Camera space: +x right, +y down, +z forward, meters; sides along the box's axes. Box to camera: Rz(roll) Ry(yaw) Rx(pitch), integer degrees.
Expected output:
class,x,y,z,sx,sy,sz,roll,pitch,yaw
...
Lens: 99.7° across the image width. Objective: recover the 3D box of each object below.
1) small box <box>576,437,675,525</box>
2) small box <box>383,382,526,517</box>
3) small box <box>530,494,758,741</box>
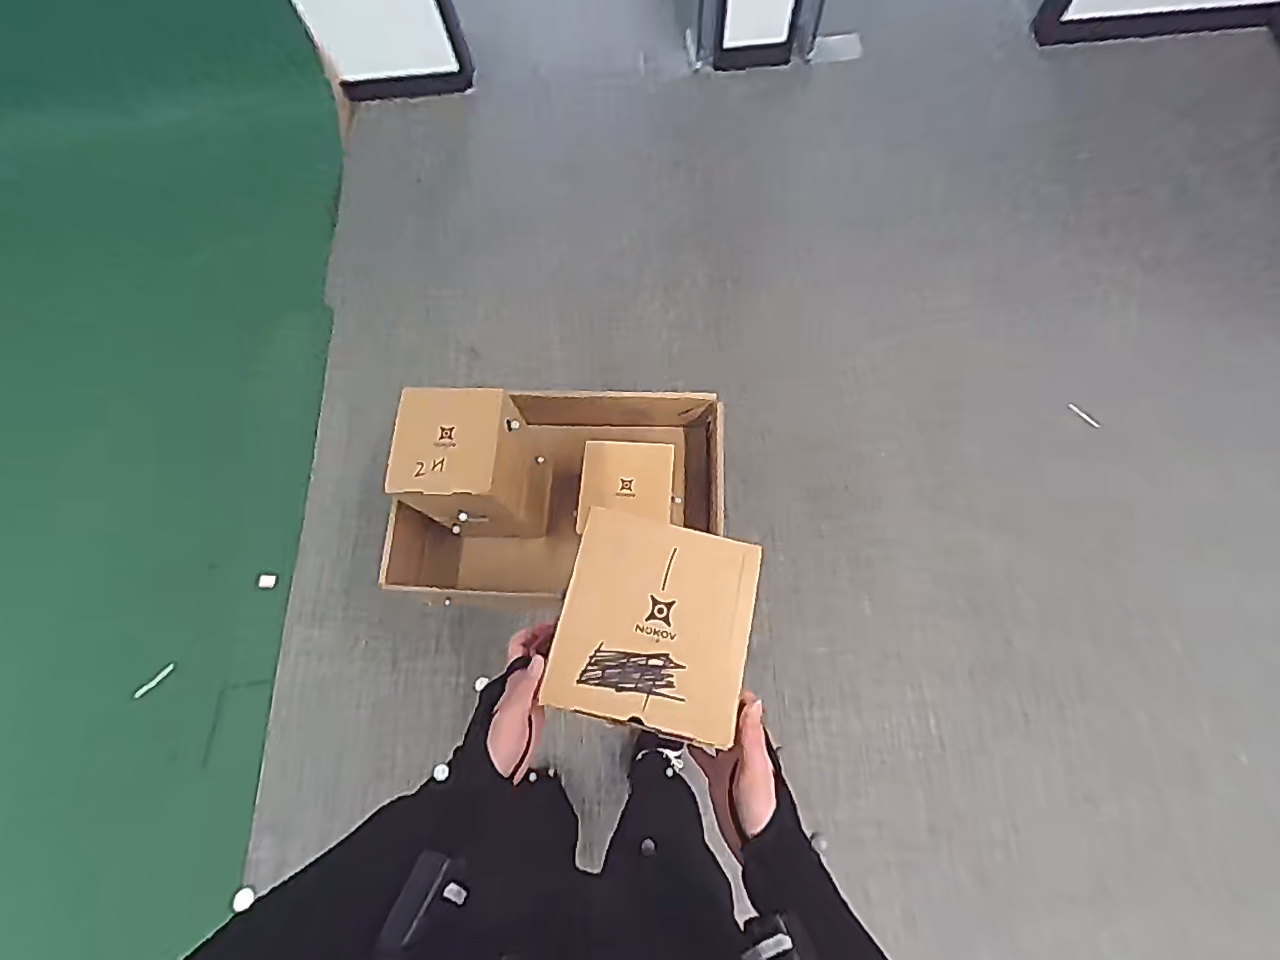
class,x,y,z,sx,sy,sz,roll,pitch,yaw
small box,-0.021,0.031,1.033,0.168,0.176,0.179,3,74,4
small box,-0.294,-0.045,0.898,0.168,0.176,0.179,1,73,4
small box,0.002,0.136,0.538,0.168,0.176,0.179,15,71,-2
